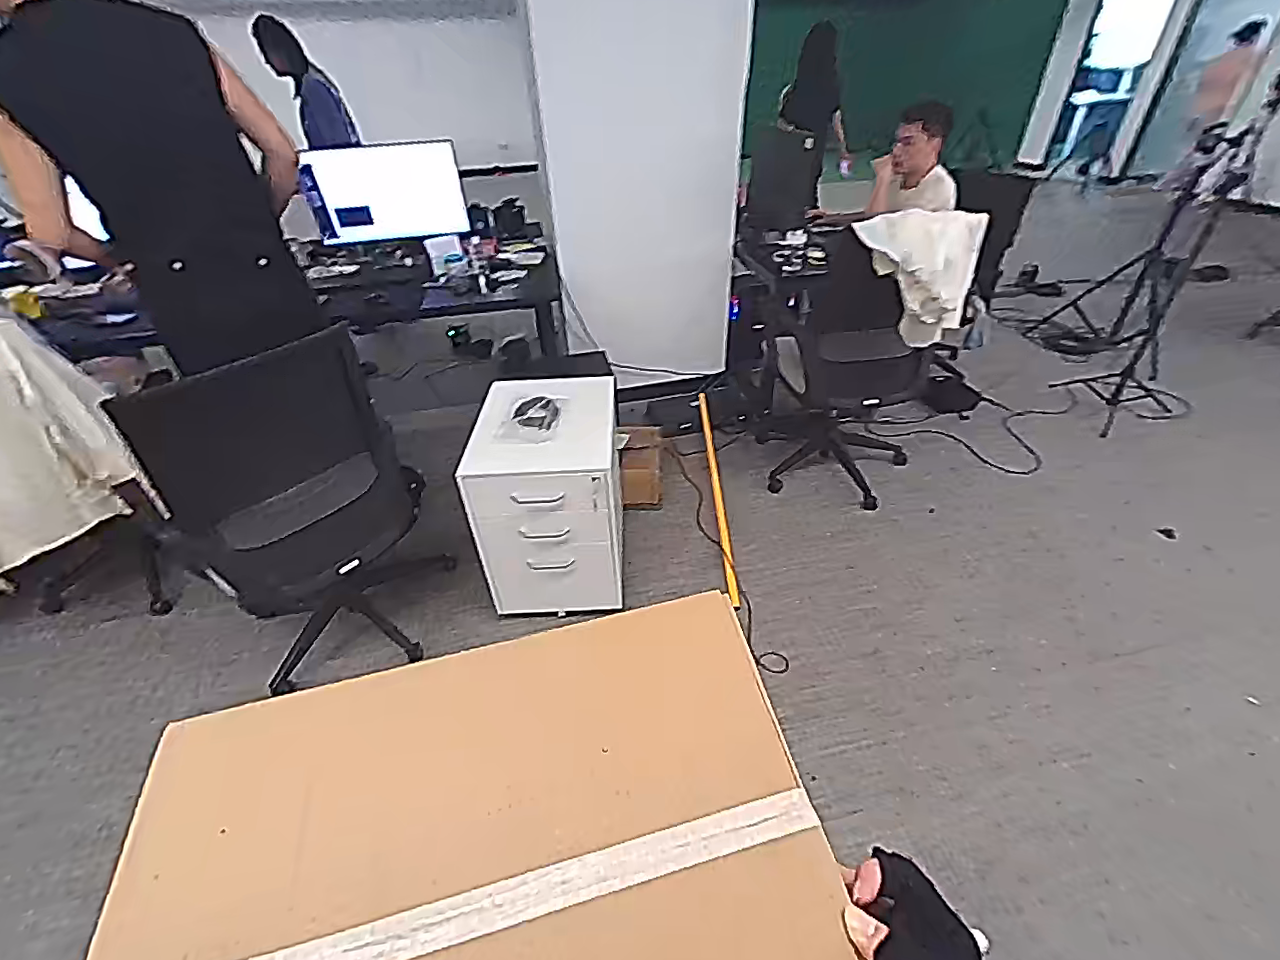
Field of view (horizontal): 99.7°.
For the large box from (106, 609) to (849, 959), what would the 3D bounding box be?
[{"bbox_3d":[-0.089,0.351,0.417,0.408,0.320,0.320,-12,49,-8],"label":"large box"}]
